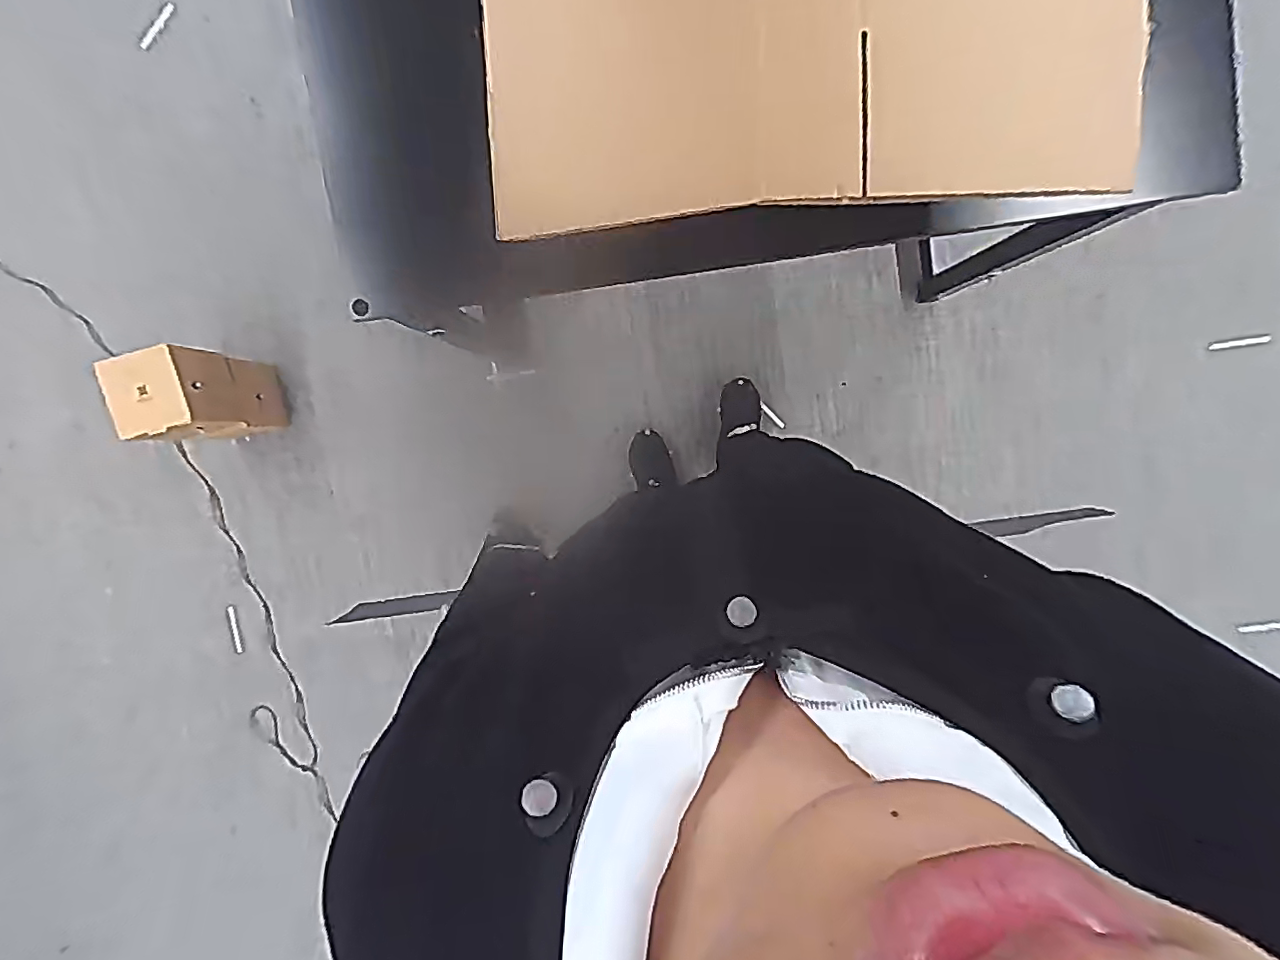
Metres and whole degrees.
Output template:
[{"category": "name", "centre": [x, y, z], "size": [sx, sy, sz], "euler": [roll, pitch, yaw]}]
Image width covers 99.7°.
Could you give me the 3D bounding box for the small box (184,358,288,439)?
[{"category": "small box", "centre": [-1.059, -0.206, 1.401], "size": [0.168, 0.176, 0.179], "euler": [-12, 96, 2]}]

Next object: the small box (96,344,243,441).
[{"category": "small box", "centre": [-1.063, -0.196, 1.239], "size": [0.168, 0.176, 0.179], "euler": [-15, 94, 1]}]
